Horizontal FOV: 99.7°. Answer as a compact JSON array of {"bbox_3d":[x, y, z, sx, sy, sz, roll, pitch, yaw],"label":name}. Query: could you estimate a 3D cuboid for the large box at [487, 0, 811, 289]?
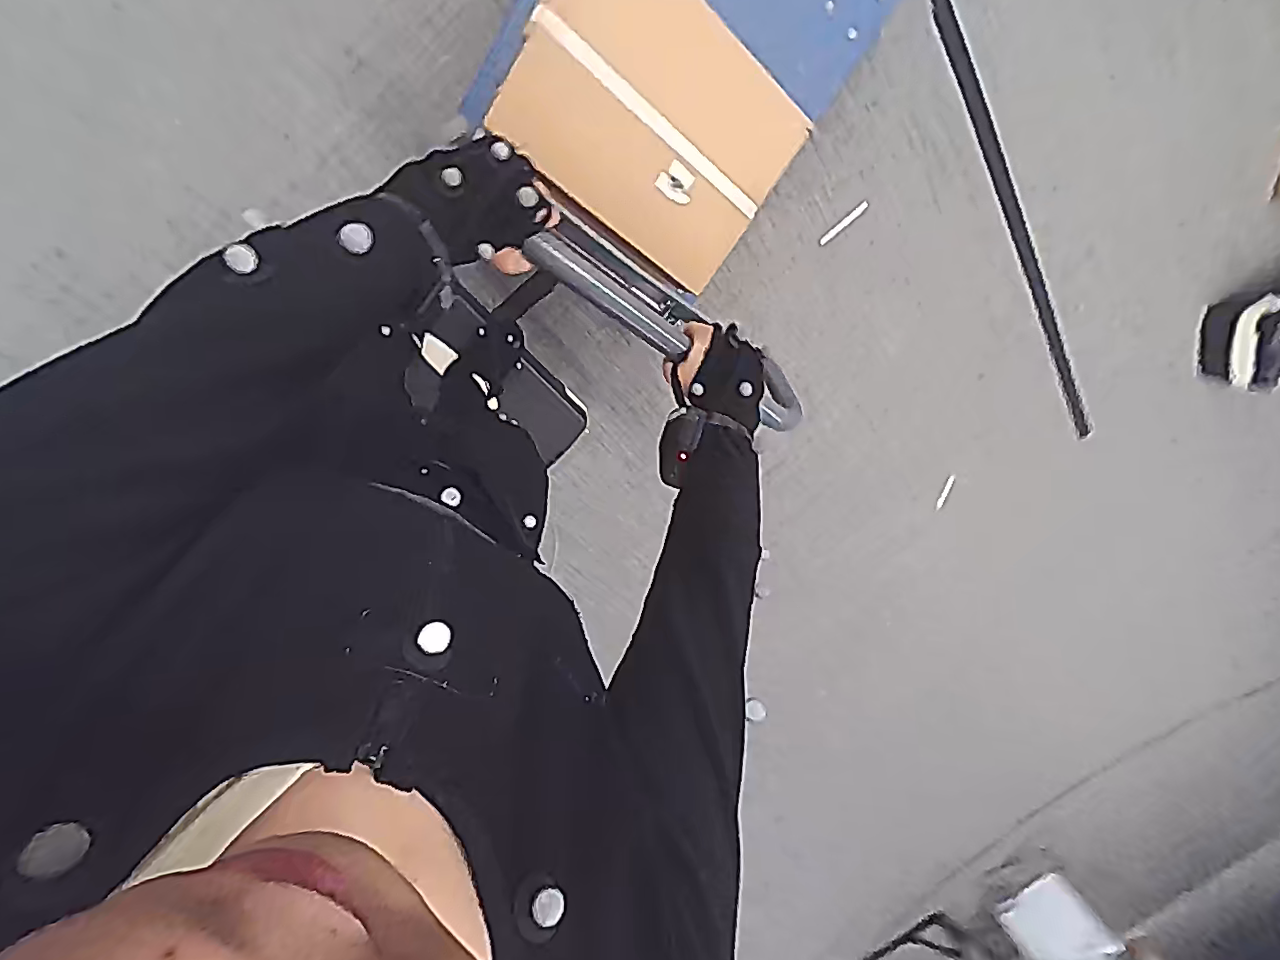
[{"bbox_3d":[-0.008,-0.590,0.925,0.408,0.320,0.320,29,105,-27],"label":"large box"}]
